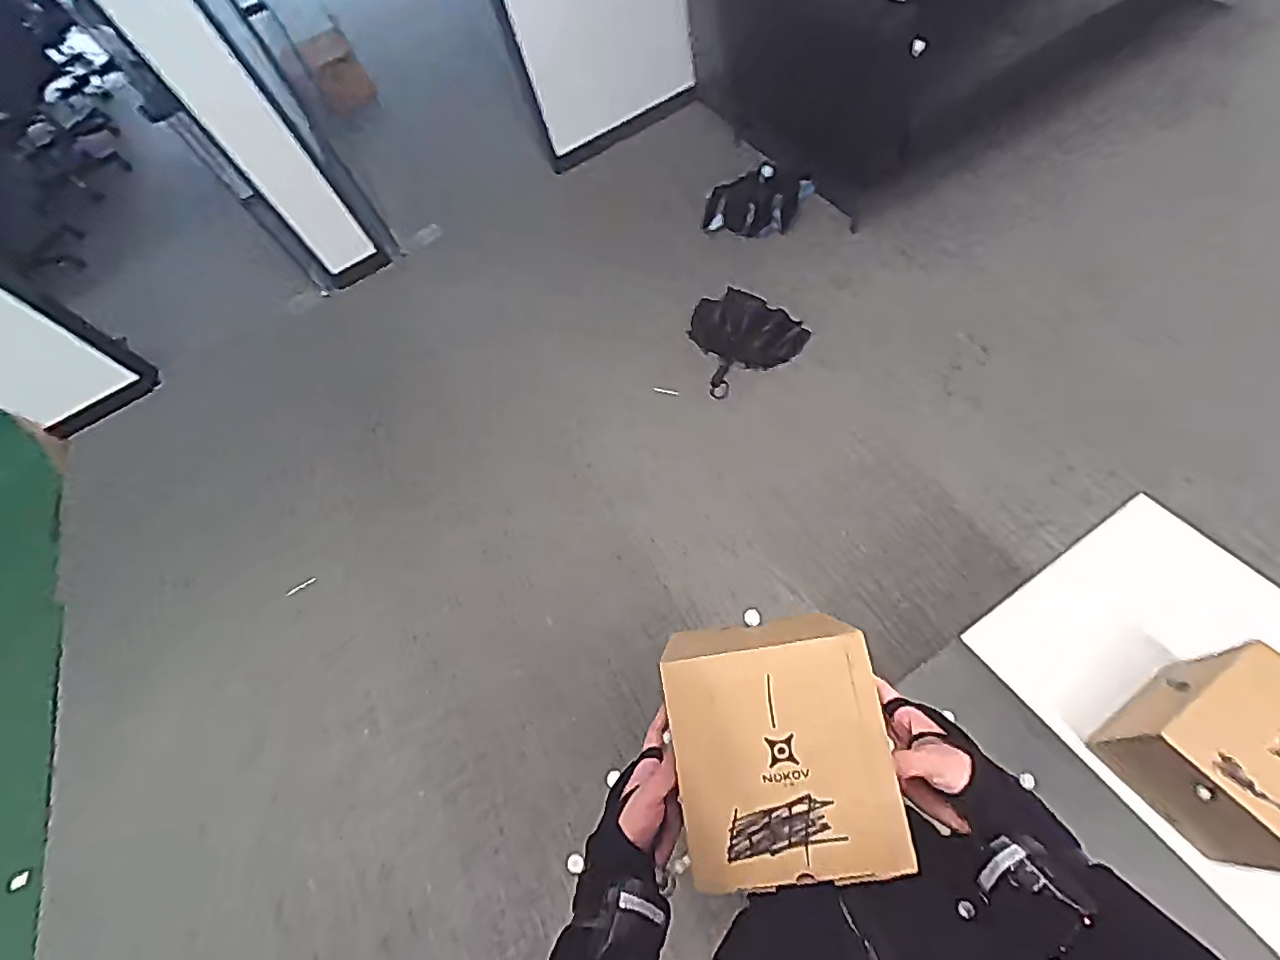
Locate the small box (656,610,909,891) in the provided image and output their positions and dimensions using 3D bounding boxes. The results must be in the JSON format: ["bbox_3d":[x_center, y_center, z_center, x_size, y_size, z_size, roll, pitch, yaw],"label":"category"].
[{"bbox_3d":[0.115,0.226,0.497,0.168,0.176,0.179,-11,80,4],"label":"small box"}]

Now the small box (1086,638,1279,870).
[{"bbox_3d":[0.698,0.324,0.648,0.179,0.176,0.168,-35,59,-10],"label":"small box"}]
